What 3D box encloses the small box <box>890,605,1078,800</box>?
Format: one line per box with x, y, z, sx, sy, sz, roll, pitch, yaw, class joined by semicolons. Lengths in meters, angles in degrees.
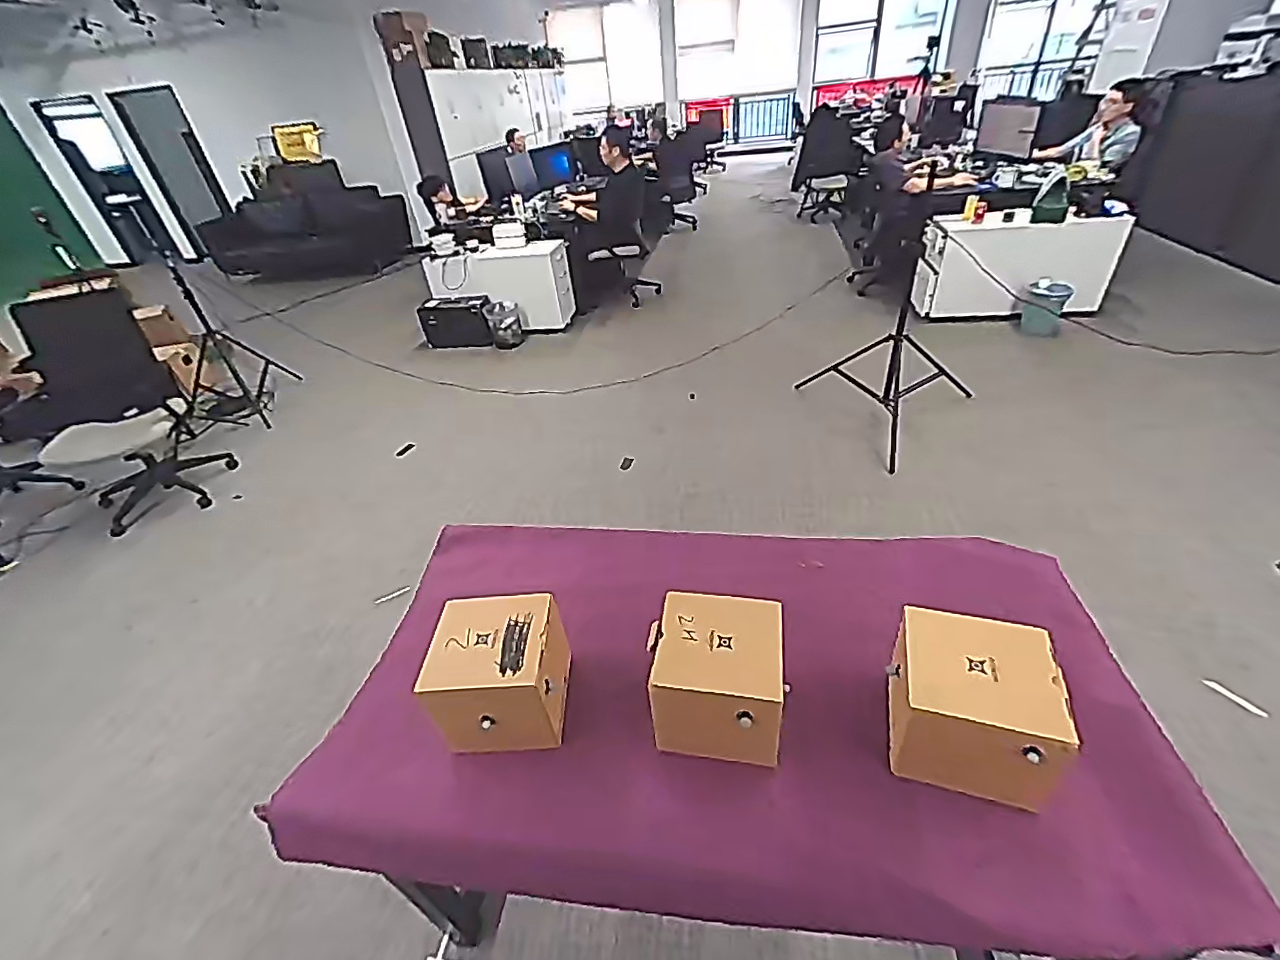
0.444;0.300;0.736;0.179;0.176;0.168;6;38;18;small box

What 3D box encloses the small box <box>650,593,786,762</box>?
0.121;0.292;0.804;0.179;0.176;0.168;2;36;12;small box
